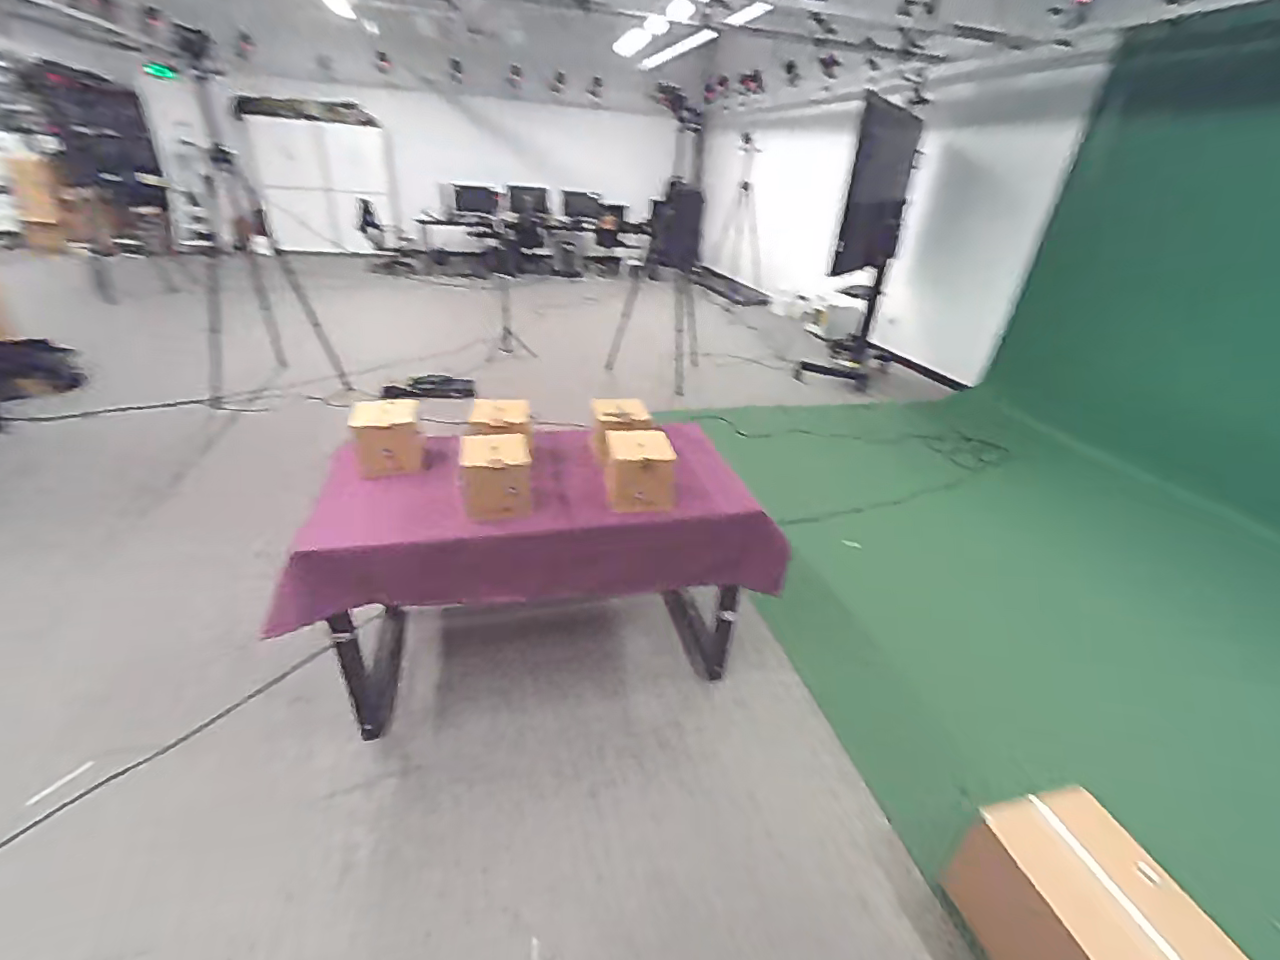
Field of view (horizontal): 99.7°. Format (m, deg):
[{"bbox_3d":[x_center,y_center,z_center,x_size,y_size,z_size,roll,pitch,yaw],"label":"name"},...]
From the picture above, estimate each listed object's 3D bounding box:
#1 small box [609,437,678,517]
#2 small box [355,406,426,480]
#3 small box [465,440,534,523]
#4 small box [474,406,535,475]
[{"bbox_3d":[0.004,-0.010,1.537,0.168,0.176,0.179,-2,30,-10],"label":"small box"},{"bbox_3d":[-0.736,-0.108,1.616,0.168,0.176,0.179,-5,31,-18],"label":"small box"},{"bbox_3d":[-0.378,0.007,1.460,0.168,0.176,0.179,-3,29,-14],"label":"small box"},{"bbox_3d":[-0.416,-0.121,1.680,0.168,0.176,0.179,-1,30,-8],"label":"small box"}]
